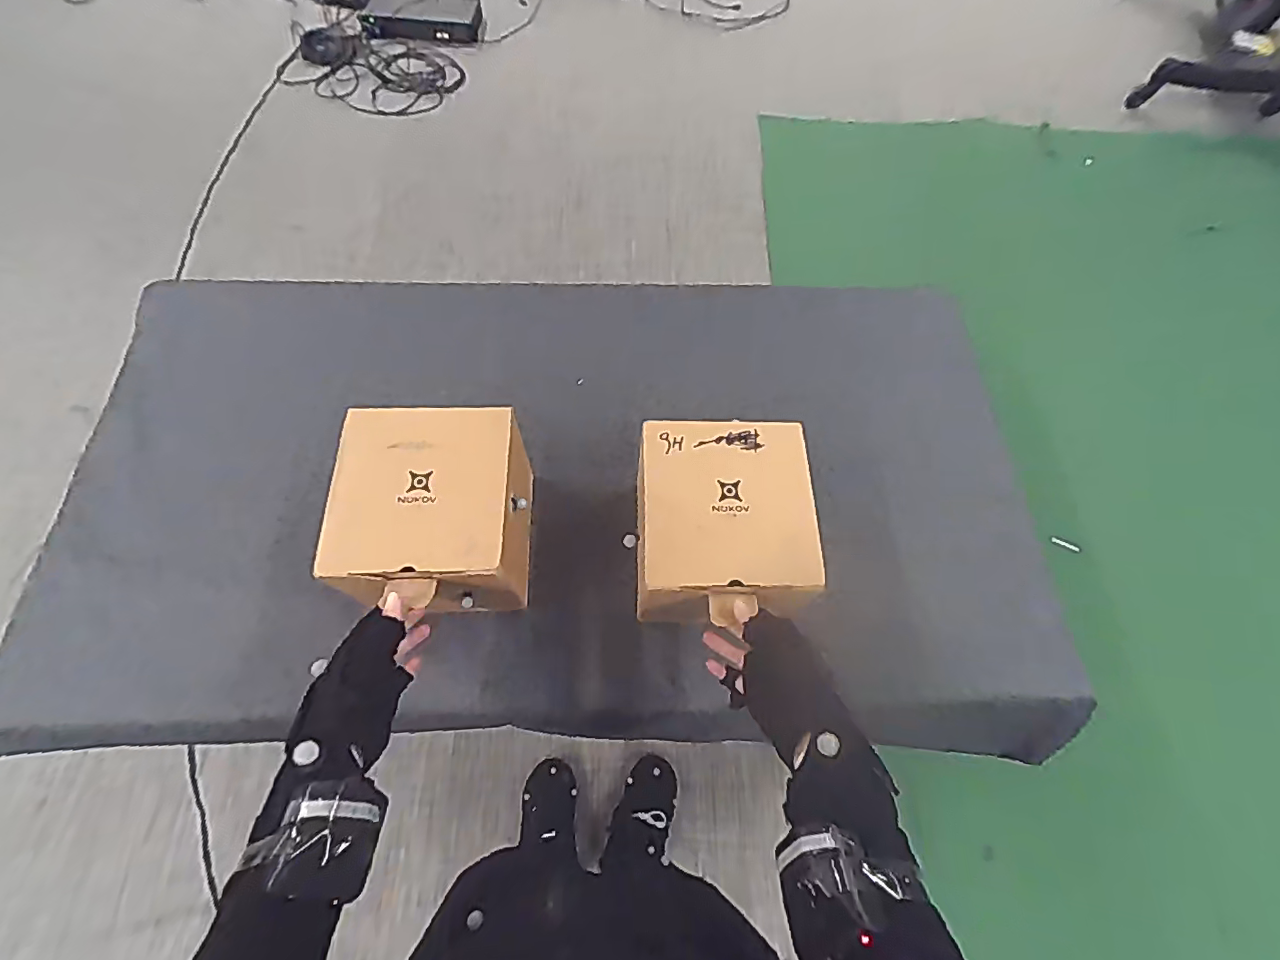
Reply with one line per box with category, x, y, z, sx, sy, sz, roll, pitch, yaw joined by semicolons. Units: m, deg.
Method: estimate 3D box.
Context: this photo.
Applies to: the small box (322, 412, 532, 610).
small box;-0.212;0.043;0.595;0.168;0.176;0.179;-1;64;-4
